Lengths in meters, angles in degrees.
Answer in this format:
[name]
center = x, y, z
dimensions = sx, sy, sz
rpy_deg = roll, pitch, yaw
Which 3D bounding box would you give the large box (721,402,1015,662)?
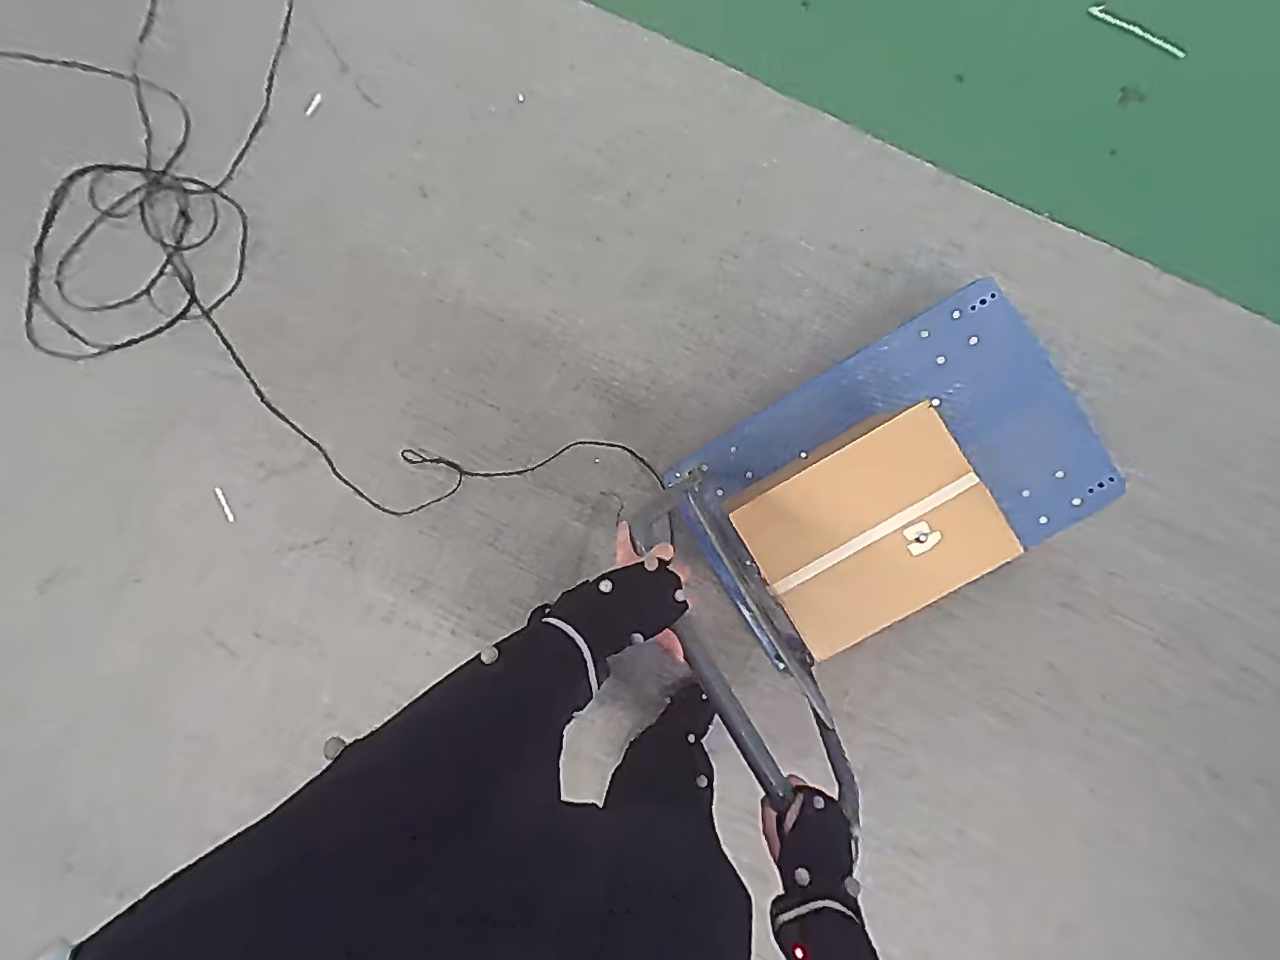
[large box]
center = 0.418, 0.097, 1.102
dimensions = 0.408, 0.320, 0.320
rpy_deg = -31, 87, 5
